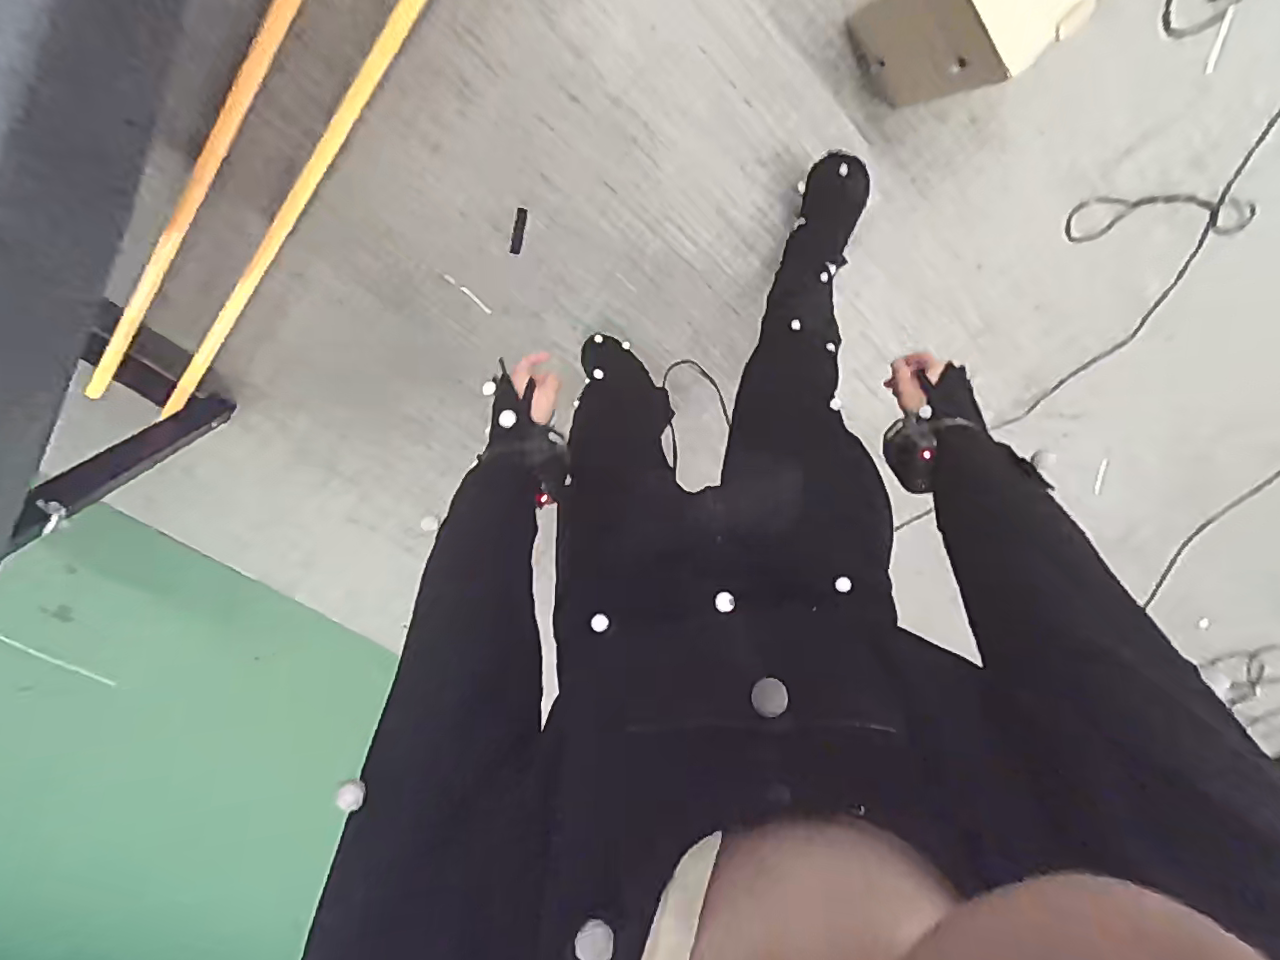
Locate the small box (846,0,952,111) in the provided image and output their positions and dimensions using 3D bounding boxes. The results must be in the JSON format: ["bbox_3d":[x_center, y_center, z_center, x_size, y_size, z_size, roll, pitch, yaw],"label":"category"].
[{"bbox_3d":[0.456,-0.706,0.833,0.168,0.176,0.179,-41,114,17],"label":"small box"}]

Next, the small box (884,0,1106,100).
[{"bbox_3d":[0.456,-0.627,0.691,0.179,0.176,0.168,40,109,-19],"label":"small box"}]
